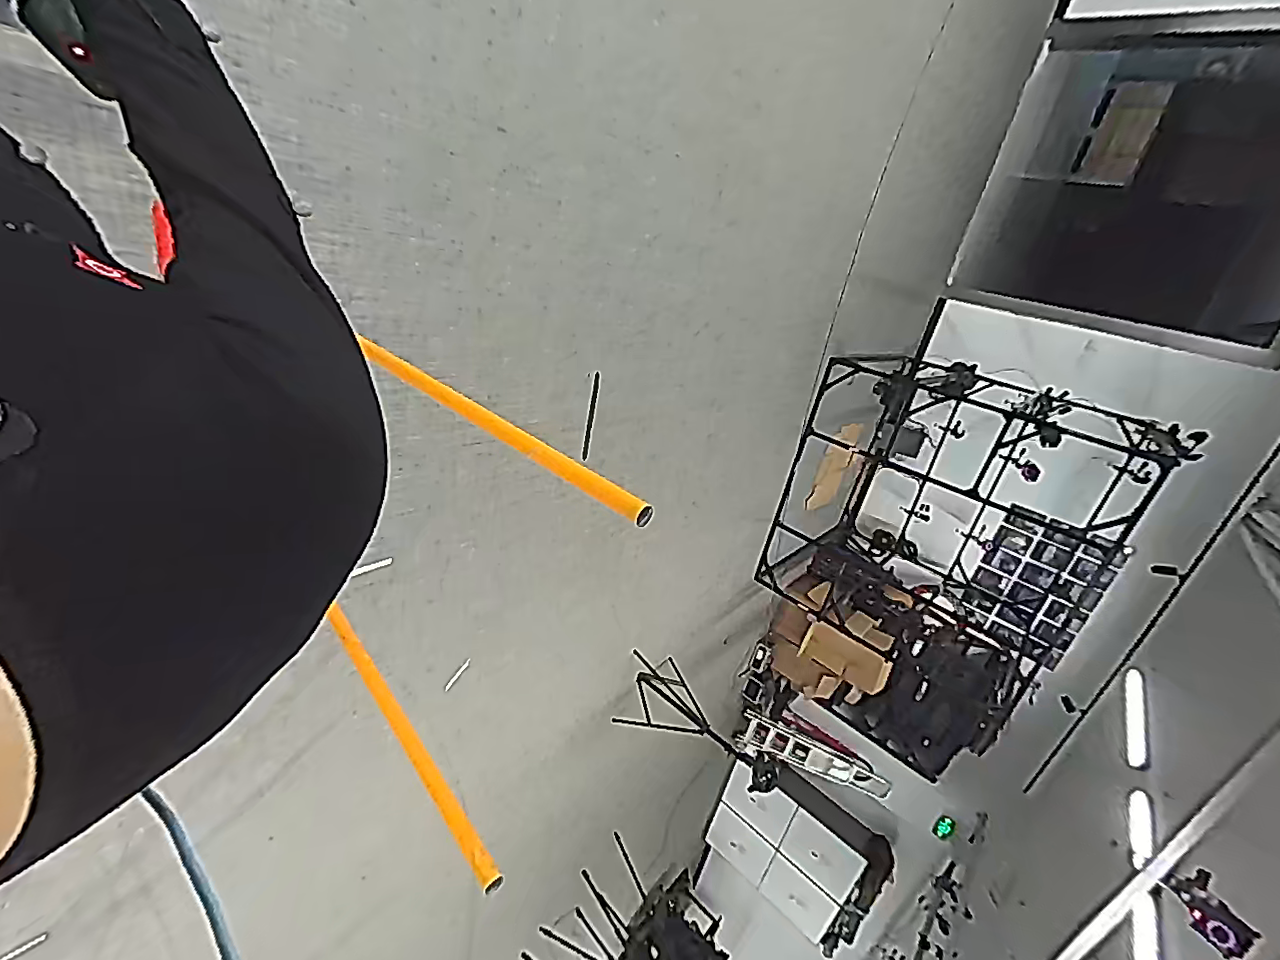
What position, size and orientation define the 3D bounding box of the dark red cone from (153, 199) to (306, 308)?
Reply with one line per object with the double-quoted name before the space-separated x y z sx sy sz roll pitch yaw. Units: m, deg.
"dark red cone" -0.755 -0.402 1.048 0.201 0.394 0.202 -18 128 -50
